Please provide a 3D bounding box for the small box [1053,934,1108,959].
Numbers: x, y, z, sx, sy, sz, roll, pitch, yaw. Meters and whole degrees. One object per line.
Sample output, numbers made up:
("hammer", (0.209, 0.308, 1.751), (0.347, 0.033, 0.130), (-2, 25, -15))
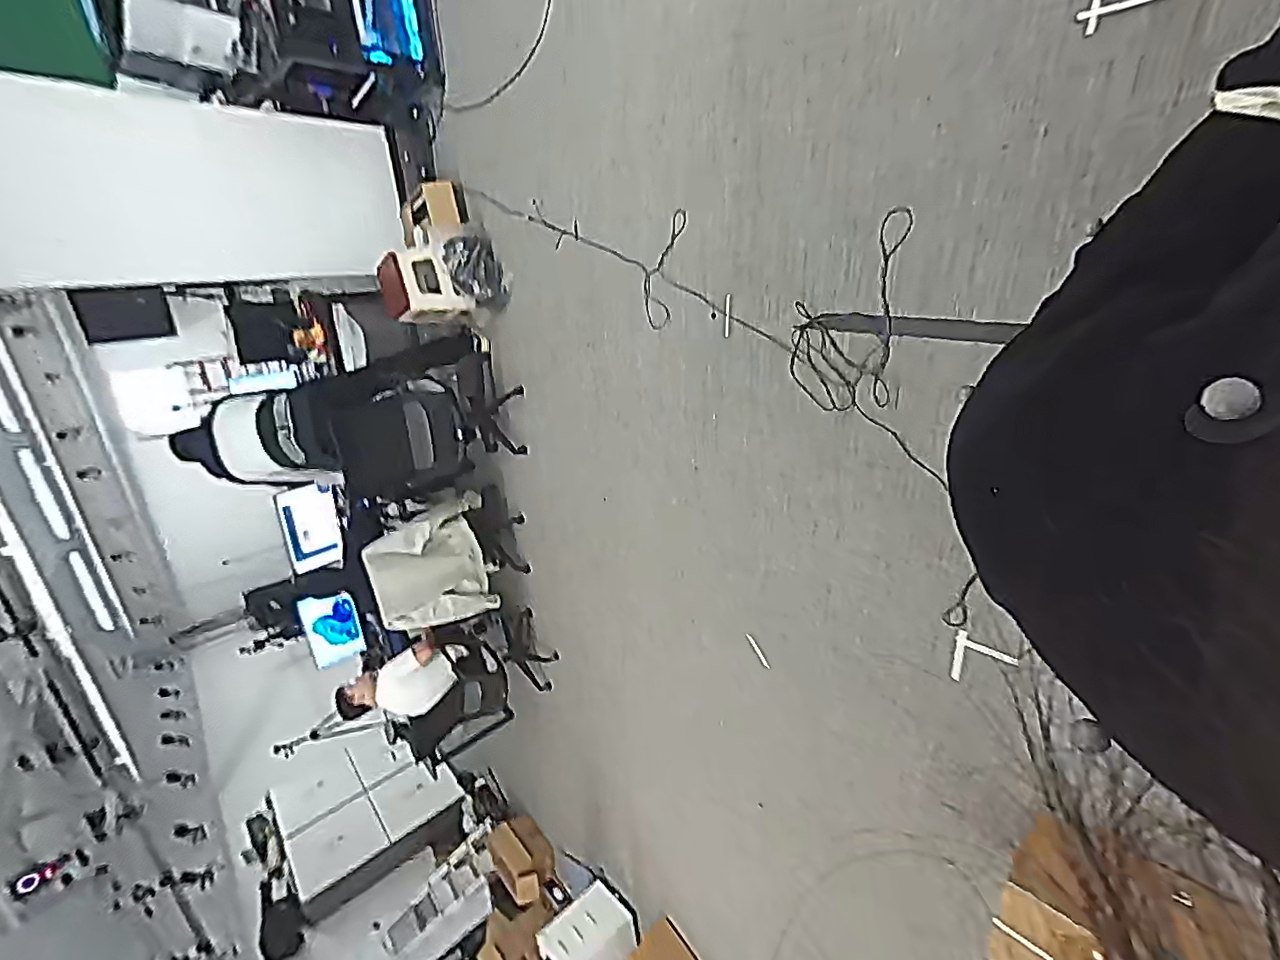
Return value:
("small box", (0.994, 1.176, 1.188), (0.168, 0.176, 0.179), (17, 118, 45))
